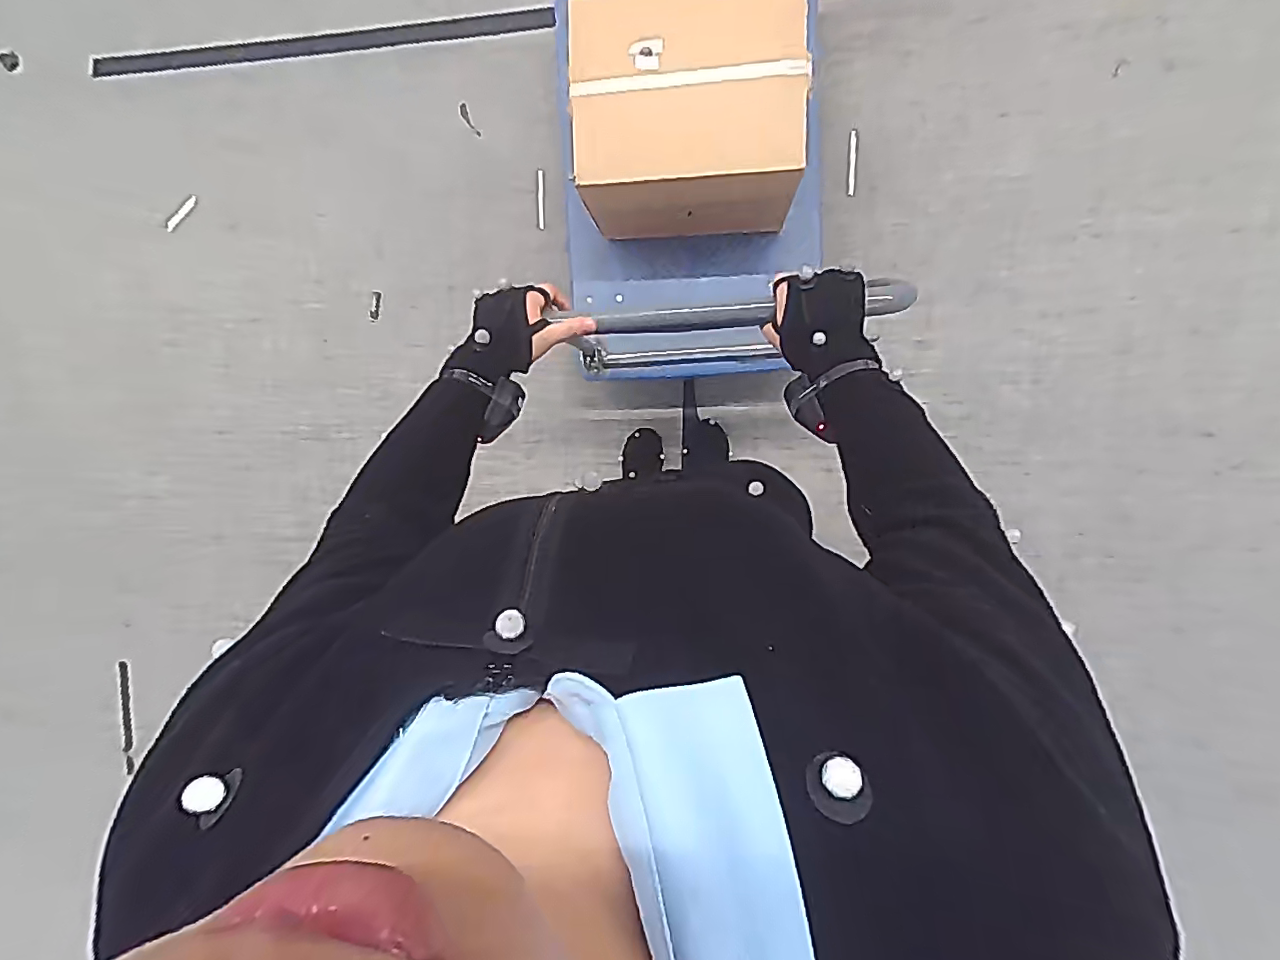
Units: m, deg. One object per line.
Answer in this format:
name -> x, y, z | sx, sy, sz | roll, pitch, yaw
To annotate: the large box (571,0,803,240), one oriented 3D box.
large box -> 0.100, -0.701, 1.087 | 0.408, 0.320, 0.320 | -1, 95, 8
